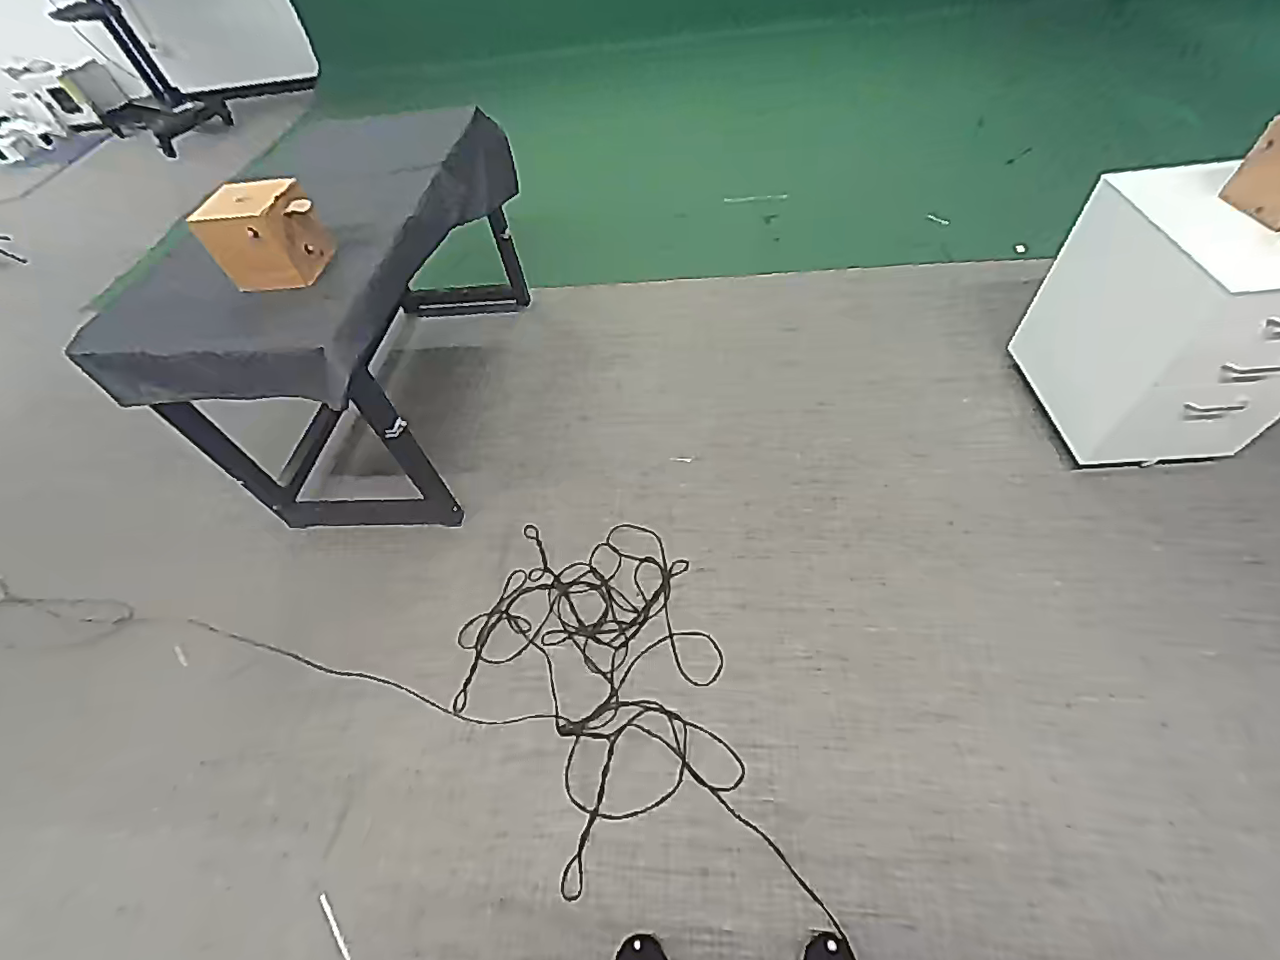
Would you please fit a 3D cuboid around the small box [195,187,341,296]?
[{"bbox_3d":[-0.824,-0.532,1.219,0.179,0.176,0.168,-2,52,7],"label":"small box"}]
